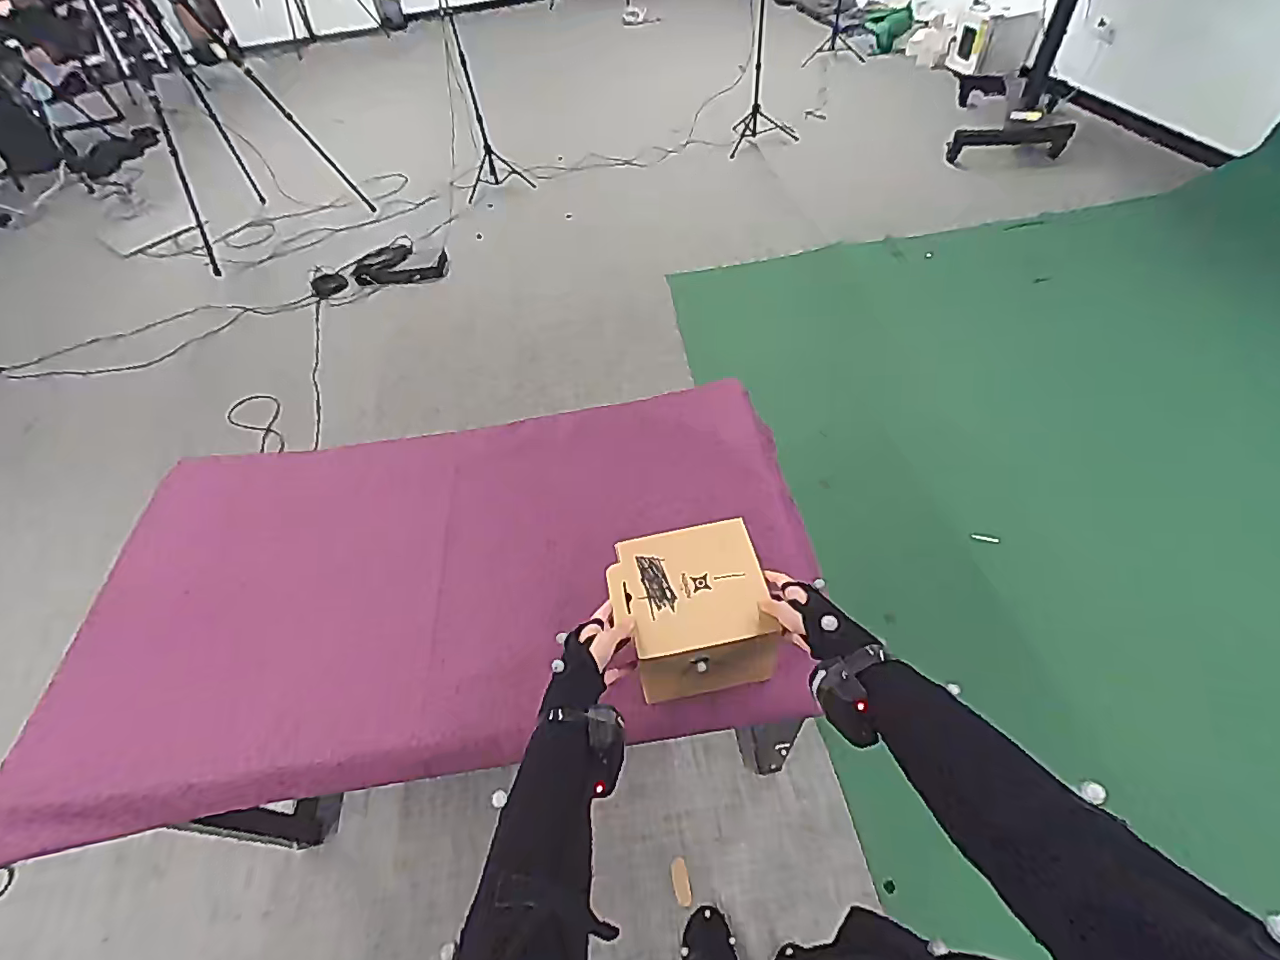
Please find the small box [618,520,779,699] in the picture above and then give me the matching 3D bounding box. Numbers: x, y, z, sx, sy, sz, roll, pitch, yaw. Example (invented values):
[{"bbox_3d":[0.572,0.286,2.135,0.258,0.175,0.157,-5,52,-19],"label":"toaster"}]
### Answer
[{"bbox_3d":[0.075,0.182,0.738,0.179,0.176,0.168,-11,51,-2],"label":"small box"}]
